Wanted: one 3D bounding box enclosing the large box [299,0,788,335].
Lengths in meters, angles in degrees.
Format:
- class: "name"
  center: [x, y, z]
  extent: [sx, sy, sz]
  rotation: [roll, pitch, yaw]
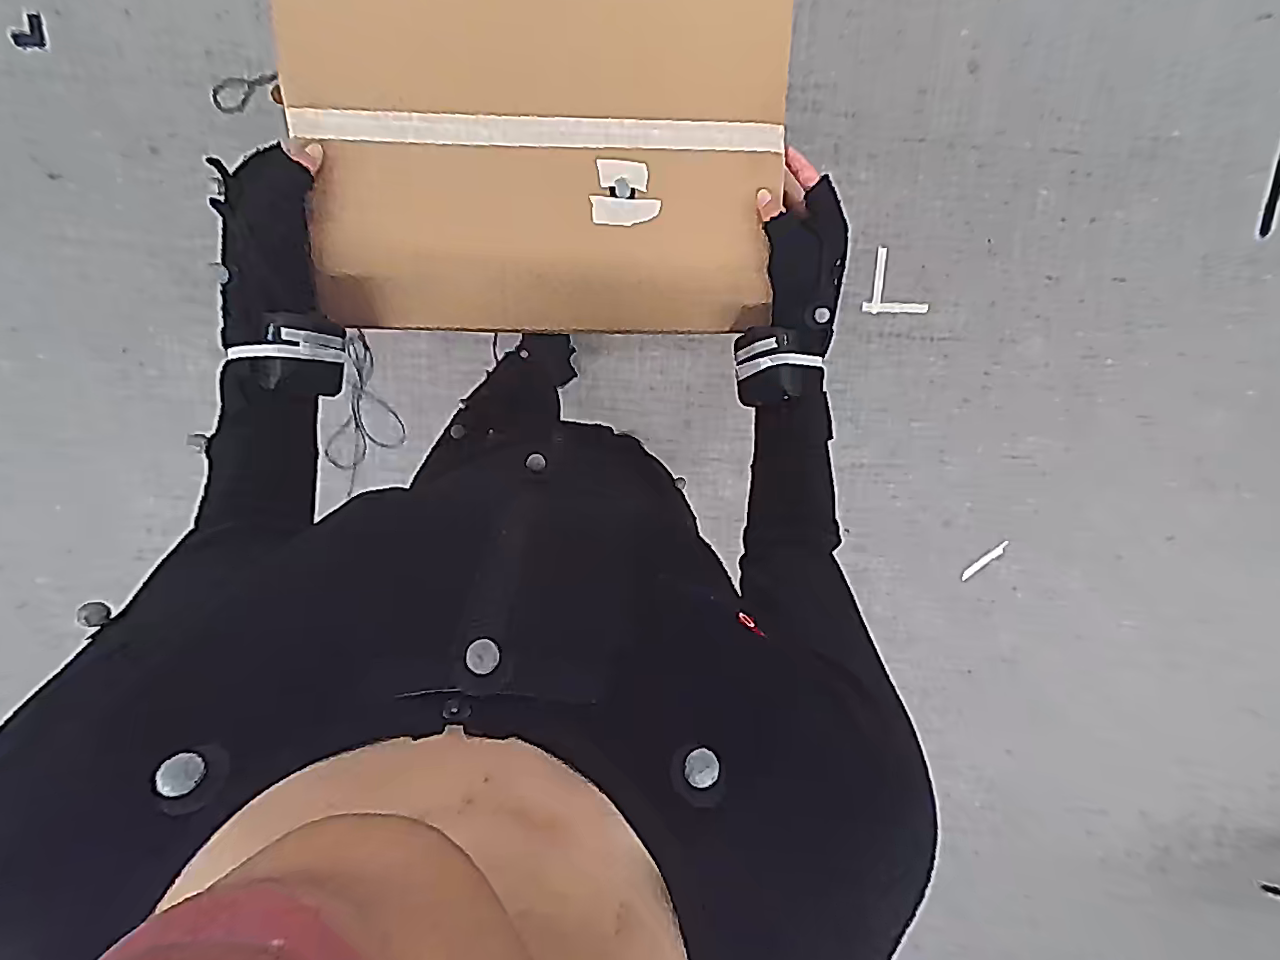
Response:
- class: "large box"
  center: [-0.086, -0.327, 0.611]
  extent: [0.408, 0.320, 0.320]
  rotation: [-1, 106, -4]
